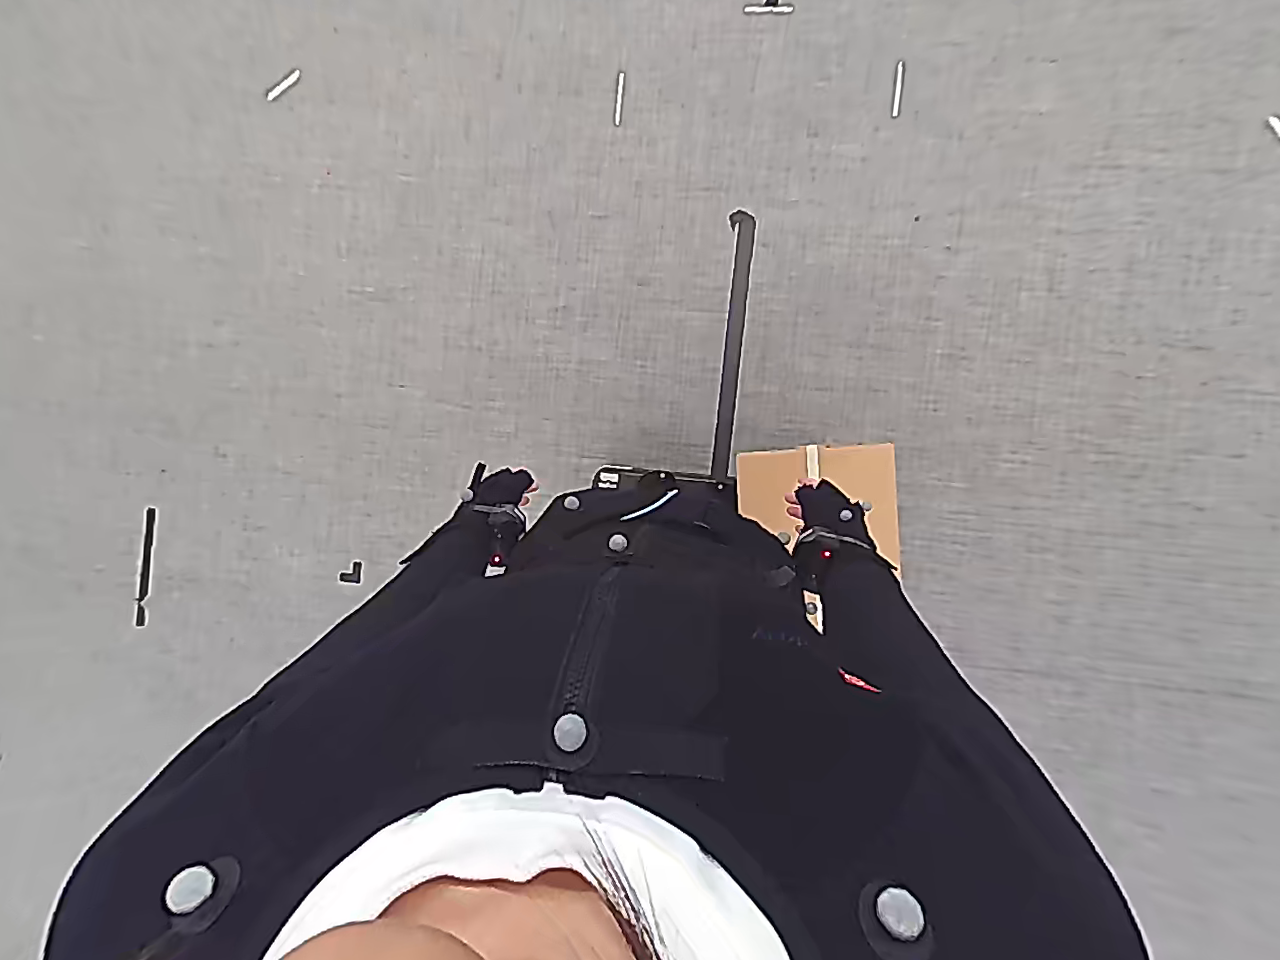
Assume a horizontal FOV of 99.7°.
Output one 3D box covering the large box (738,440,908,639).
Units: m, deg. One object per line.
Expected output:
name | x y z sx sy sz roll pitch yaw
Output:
large box | 0.403 0.123 1.256 0.320 0.320 0.408 -3 91 13
